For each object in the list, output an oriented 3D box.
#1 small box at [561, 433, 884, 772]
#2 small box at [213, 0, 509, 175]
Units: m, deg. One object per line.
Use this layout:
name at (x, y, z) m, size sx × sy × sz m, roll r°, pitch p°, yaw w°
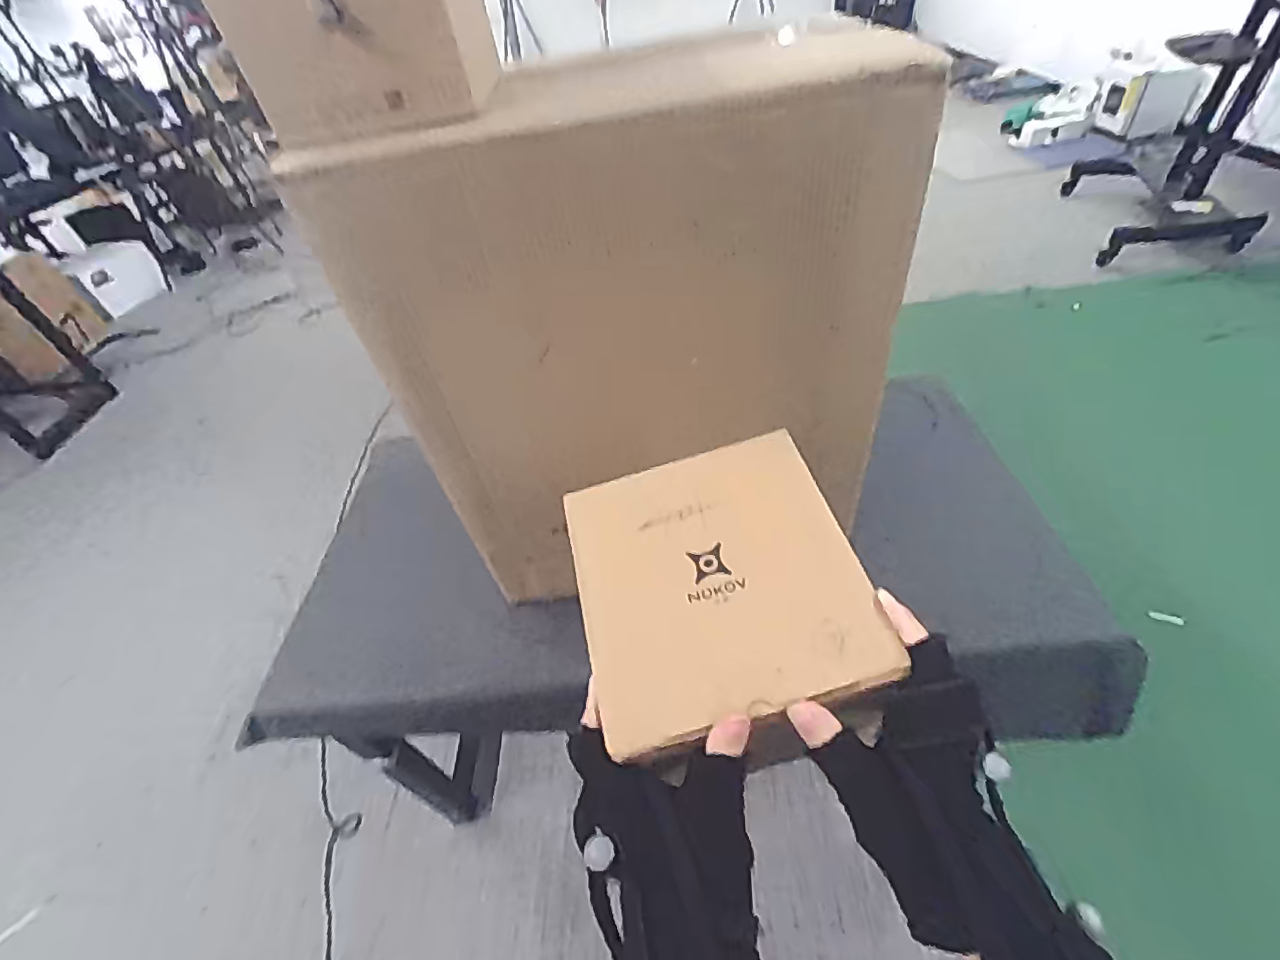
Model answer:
small box at (0.052, 0.100, 0.403) m, size 0.168 × 0.176 × 0.179 m, roll -16°, pitch 51°, yaw 0°
small box at (-0.220, -0.380, 0.460) m, size 0.168 × 0.176 × 0.179 m, roll -10°, pitch 46°, yaw 3°
